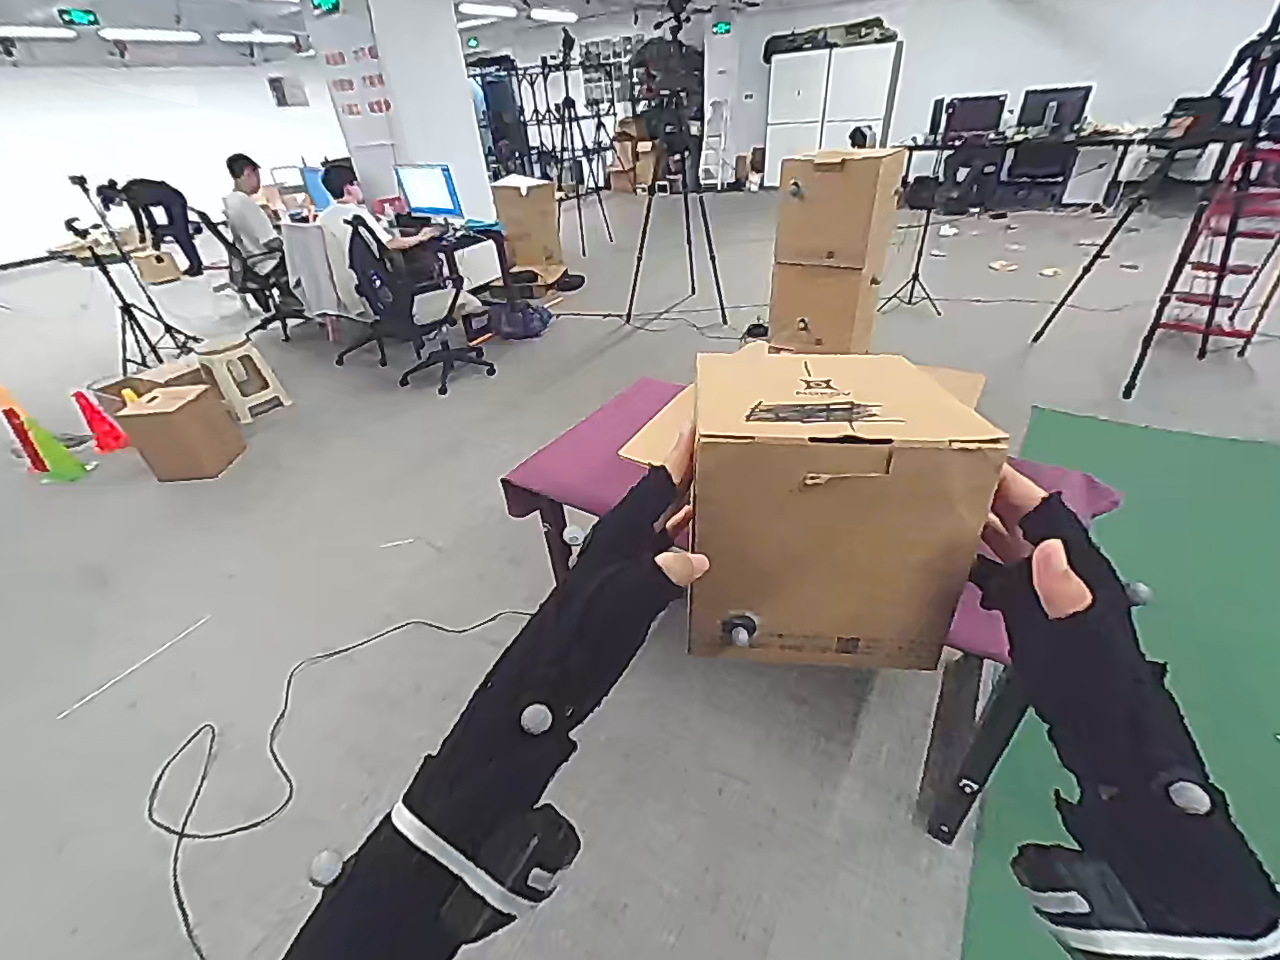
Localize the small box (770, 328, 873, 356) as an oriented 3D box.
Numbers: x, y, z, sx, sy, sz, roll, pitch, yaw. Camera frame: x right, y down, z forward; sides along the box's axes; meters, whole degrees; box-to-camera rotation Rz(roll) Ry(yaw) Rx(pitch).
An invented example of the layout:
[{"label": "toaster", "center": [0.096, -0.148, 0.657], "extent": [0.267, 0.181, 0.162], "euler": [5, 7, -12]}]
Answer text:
[{"label": "small box", "center": [0.384, -0.232, 1.170], "extent": [0.168, 0.176, 0.179], "euler": [18, 41, 31]}]

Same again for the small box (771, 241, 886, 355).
[{"label": "small box", "center": [0.369, -0.363, 1.073], "extent": [0.168, 0.176, 0.179], "euler": [17, 41, 28]}]

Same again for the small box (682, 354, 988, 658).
[{"label": "small box", "center": [0.117, 0.011, 0.405], "extent": [0.168, 0.176, 0.179], "euler": [1, 28, 5]}]
